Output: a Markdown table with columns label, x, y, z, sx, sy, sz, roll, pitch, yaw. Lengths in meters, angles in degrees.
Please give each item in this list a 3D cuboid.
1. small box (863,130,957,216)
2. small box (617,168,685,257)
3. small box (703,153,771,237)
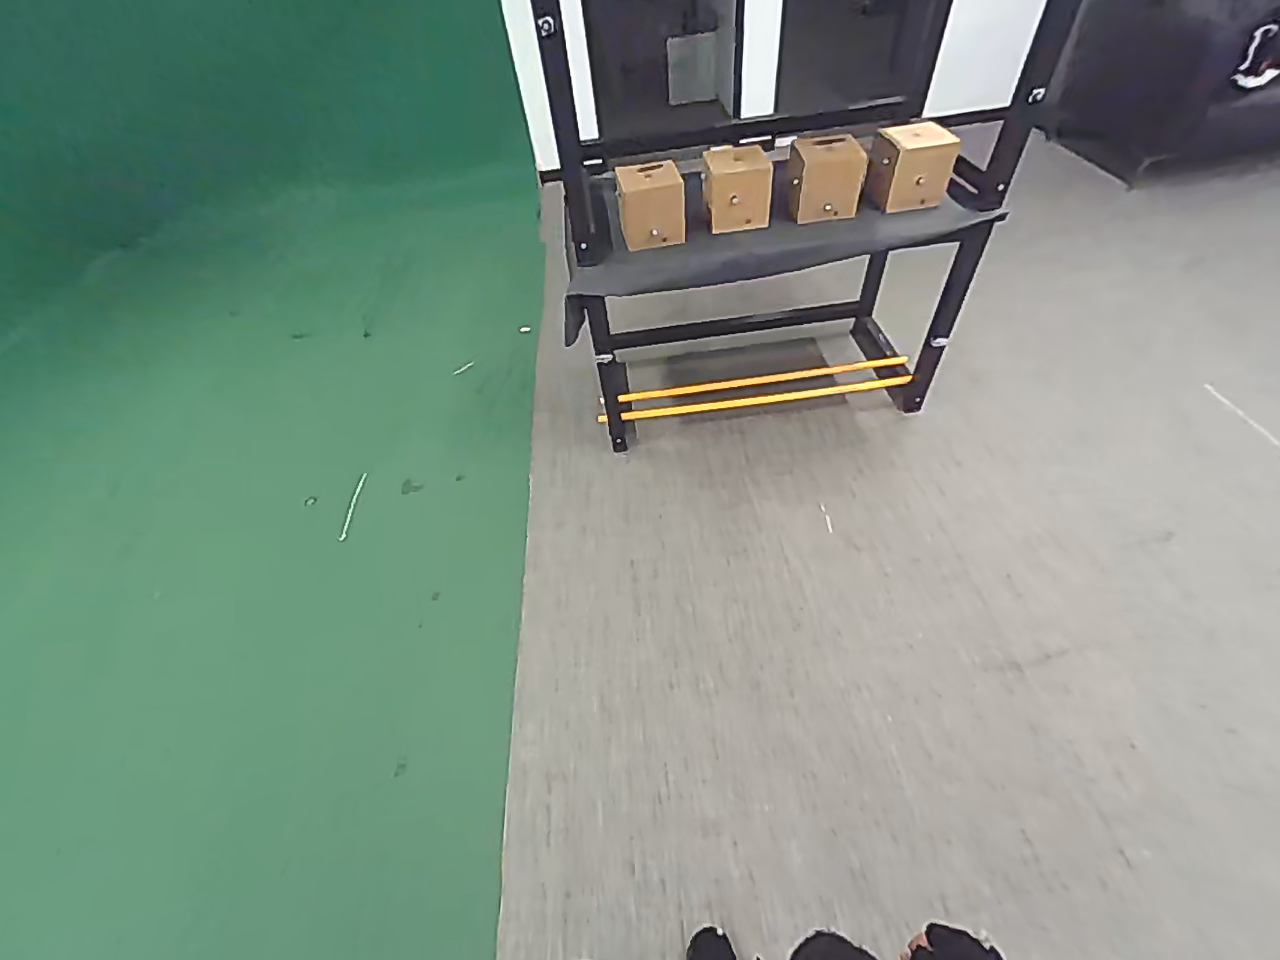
| label | x | y | z | sx | sy | sz | roll | pitch | yaw |
| --- | --- | --- | --- | --- | --- | --- | --- | --- | --- |
| small box | 0.767 | -0.877 | 1.556 | 0.168 | 0.176 | 0.179 | -8 | 47 | 0 |
| small box | 0.031 | -0.763 | 1.548 | 0.168 | 0.176 | 0.179 | -11 | 49 | -2 |
| small box | 0.277 | -0.822 | 1.572 | 0.168 | 0.176 | 0.179 | -7 | 48 | 0 |
